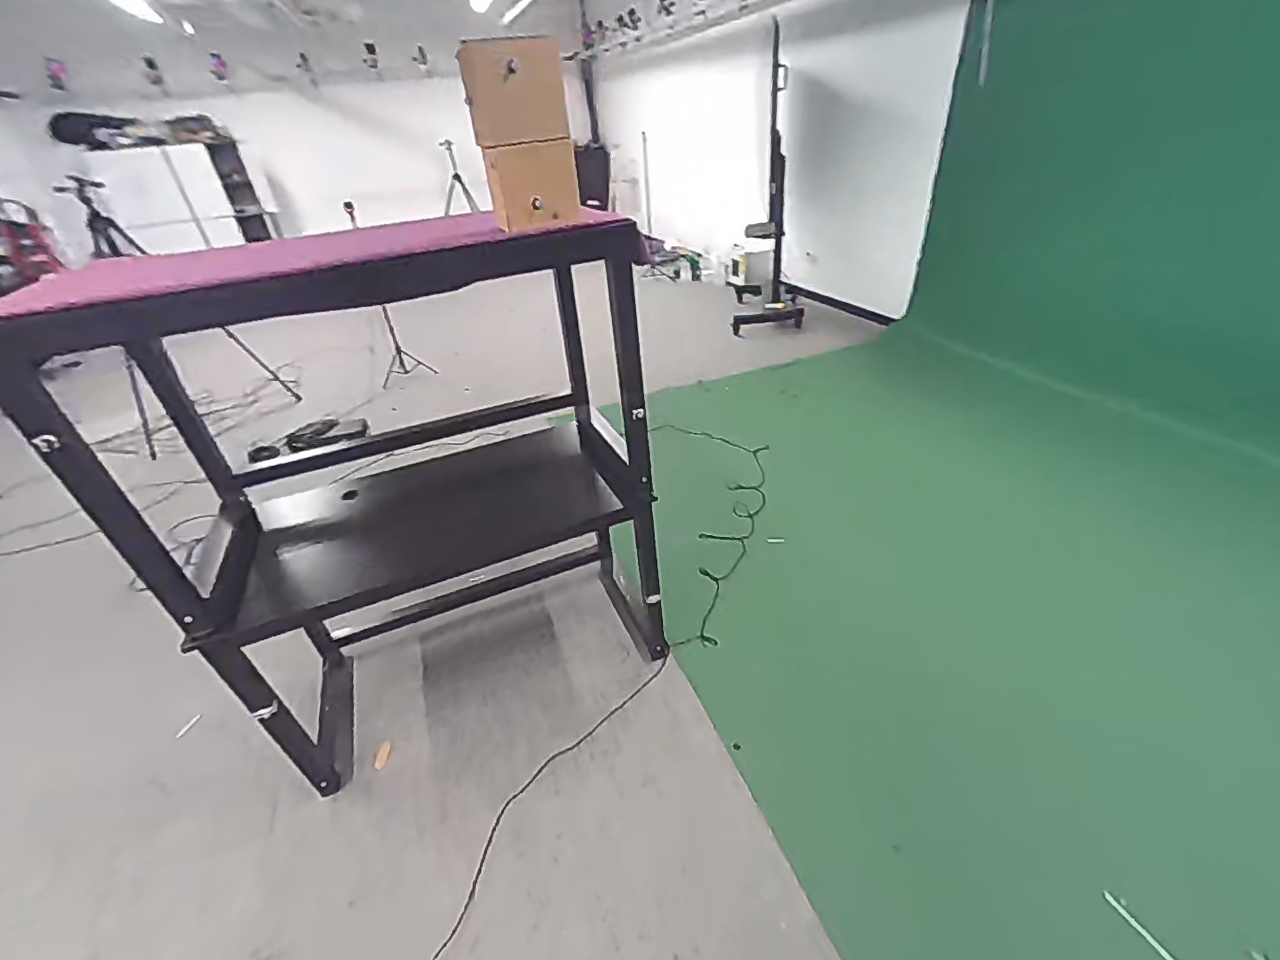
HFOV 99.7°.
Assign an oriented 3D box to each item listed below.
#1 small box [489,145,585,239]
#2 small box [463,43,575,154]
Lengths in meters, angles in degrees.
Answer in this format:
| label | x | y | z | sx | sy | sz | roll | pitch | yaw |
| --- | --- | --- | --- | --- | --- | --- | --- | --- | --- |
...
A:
| label | x | y | z | sx | sy | sz | roll | pitch | yaw |
| --- | --- | --- | --- | --- | --- | --- | --- | --- | --- |
| small box | -0.232 | -0.650 | 1.218 | 0.168 | 0.176 | 0.179 | -16 | 35 | -15 |
| small box | -0.249 | -0.781 | 1.119 | 0.179 | 0.176 | 0.168 | -17 | 36 | -15 |
